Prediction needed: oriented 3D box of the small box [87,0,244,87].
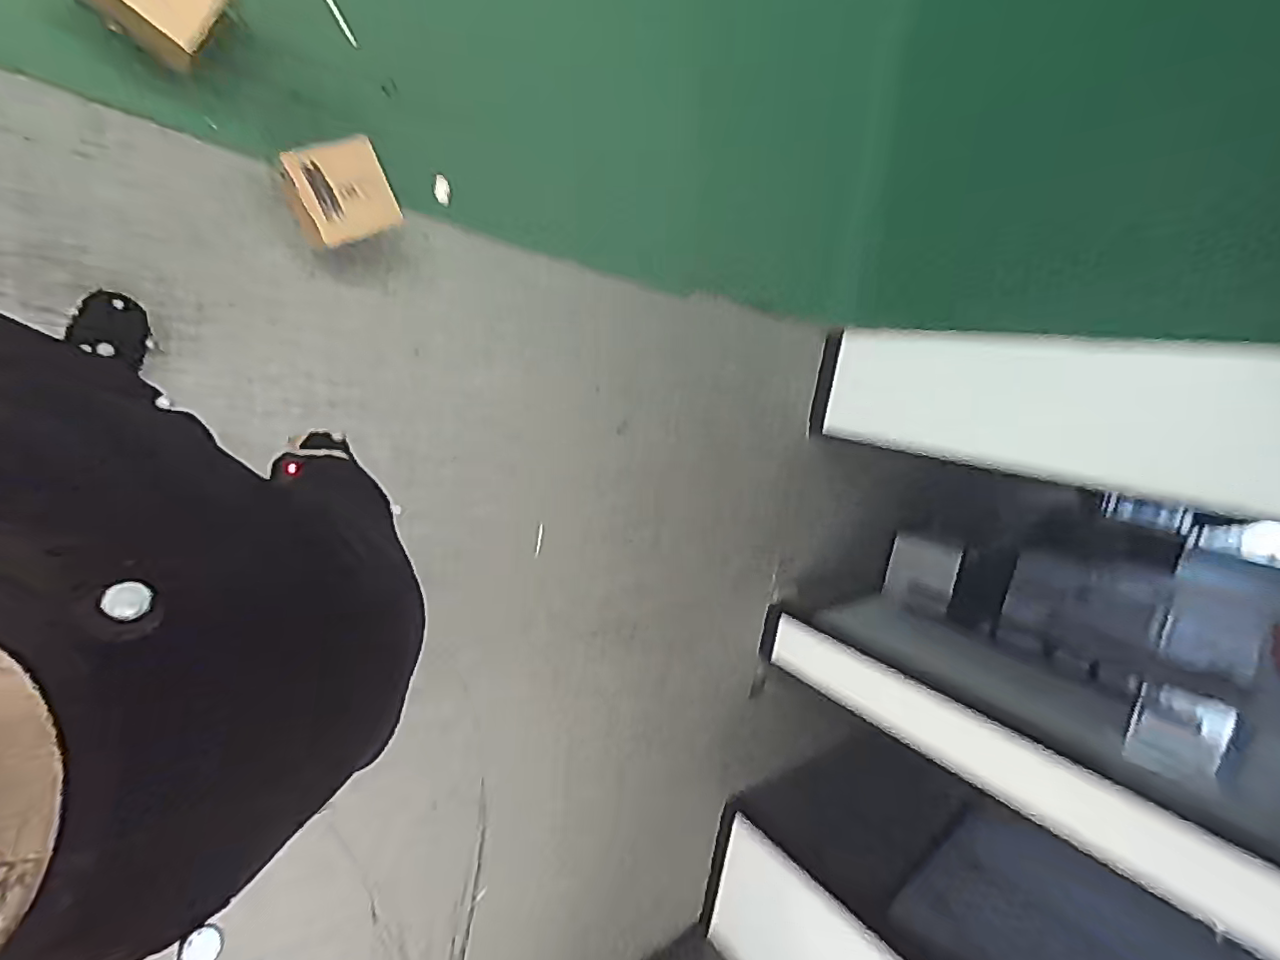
[{"bbox_3d":[-0.821,-0.837,0.935,0.168,0.176,0.179,33,82,-41],"label":"small box"}]
